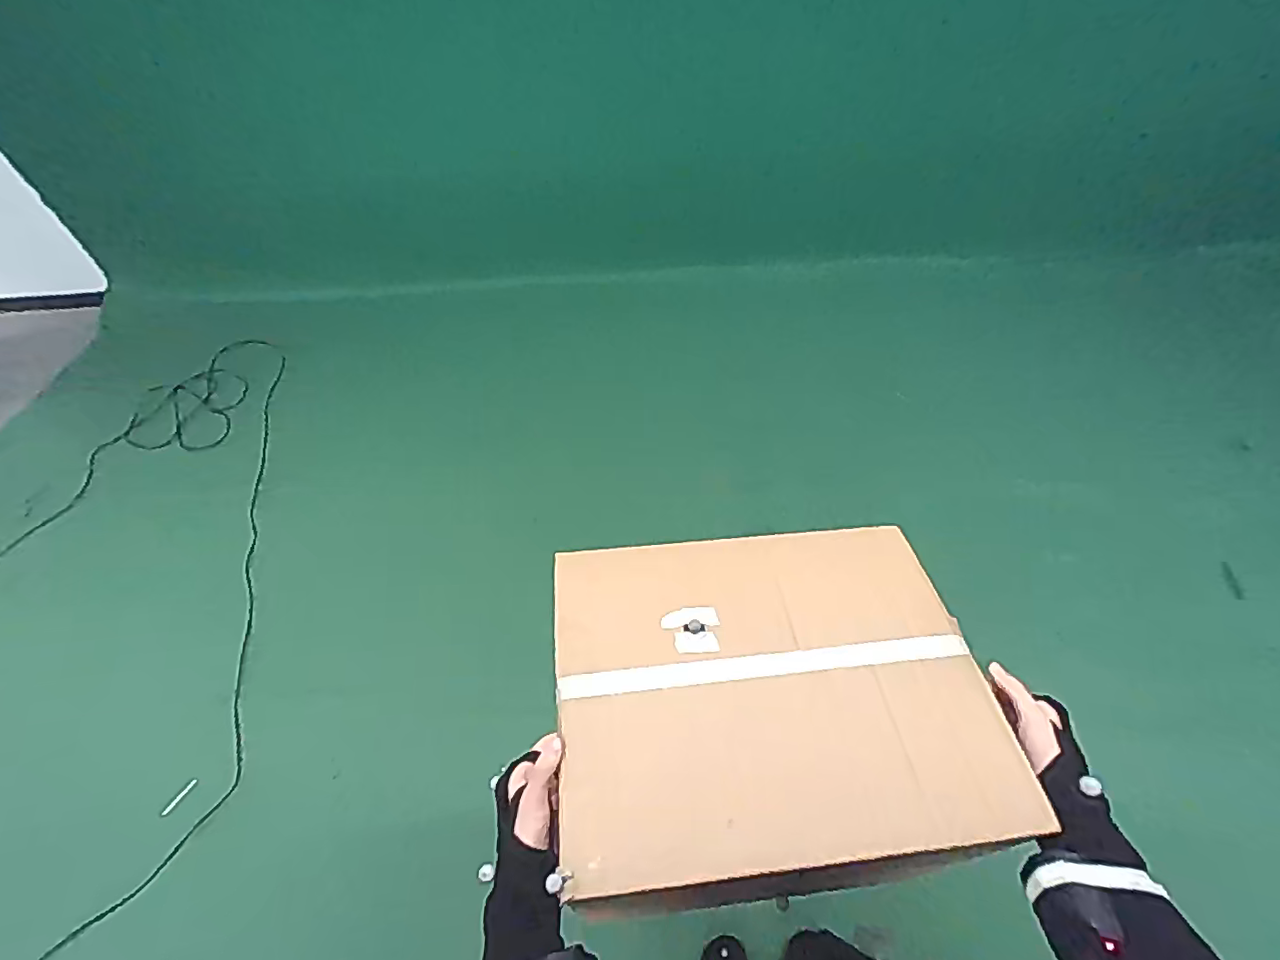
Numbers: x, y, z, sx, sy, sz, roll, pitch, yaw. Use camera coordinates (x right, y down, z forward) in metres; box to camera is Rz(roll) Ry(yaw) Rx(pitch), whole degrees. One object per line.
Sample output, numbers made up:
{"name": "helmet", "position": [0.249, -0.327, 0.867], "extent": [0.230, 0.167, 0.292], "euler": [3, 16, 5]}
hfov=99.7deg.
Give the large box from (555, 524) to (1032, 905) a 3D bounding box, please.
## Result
{"name": "large box", "position": [0.120, 0.282, 0.646], "extent": [0.408, 0.320, 0.320], "euler": [-5, 49, -4]}
